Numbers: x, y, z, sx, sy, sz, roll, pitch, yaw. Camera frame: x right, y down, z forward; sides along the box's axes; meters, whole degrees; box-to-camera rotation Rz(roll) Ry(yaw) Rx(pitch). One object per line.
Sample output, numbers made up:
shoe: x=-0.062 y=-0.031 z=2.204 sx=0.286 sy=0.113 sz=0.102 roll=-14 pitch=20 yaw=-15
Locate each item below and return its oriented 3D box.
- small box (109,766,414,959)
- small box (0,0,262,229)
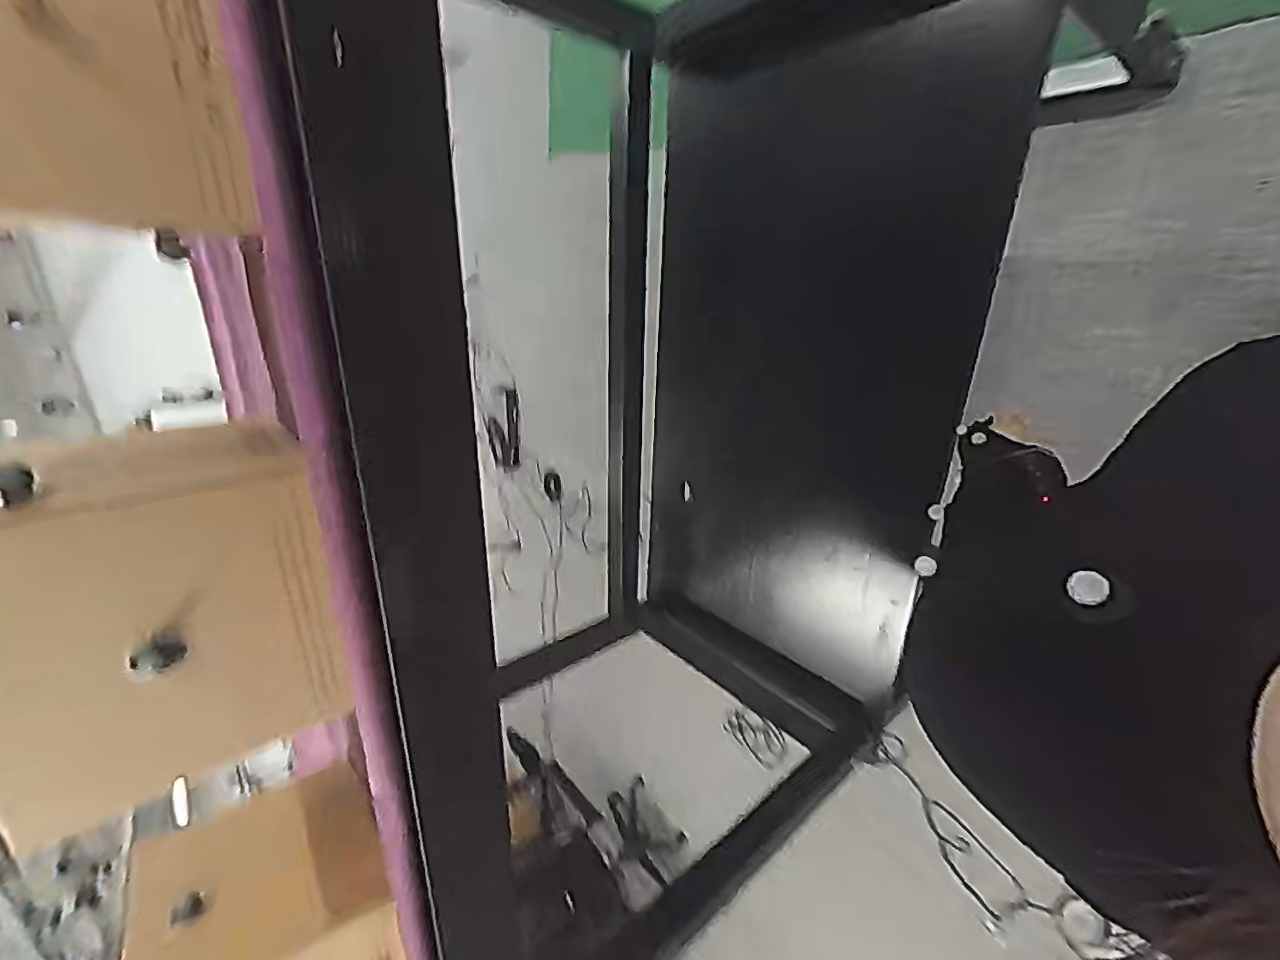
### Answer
small box: x=-0.296 y=0.373 z=0.443 sx=0.179 sy=0.176 sz=0.168 roll=19 pitch=115 yaw=48
small box: x=-0.293 y=-0.210 z=0.243 sx=0.179 sy=0.176 sz=0.168 roll=23 pitch=120 yaw=44
